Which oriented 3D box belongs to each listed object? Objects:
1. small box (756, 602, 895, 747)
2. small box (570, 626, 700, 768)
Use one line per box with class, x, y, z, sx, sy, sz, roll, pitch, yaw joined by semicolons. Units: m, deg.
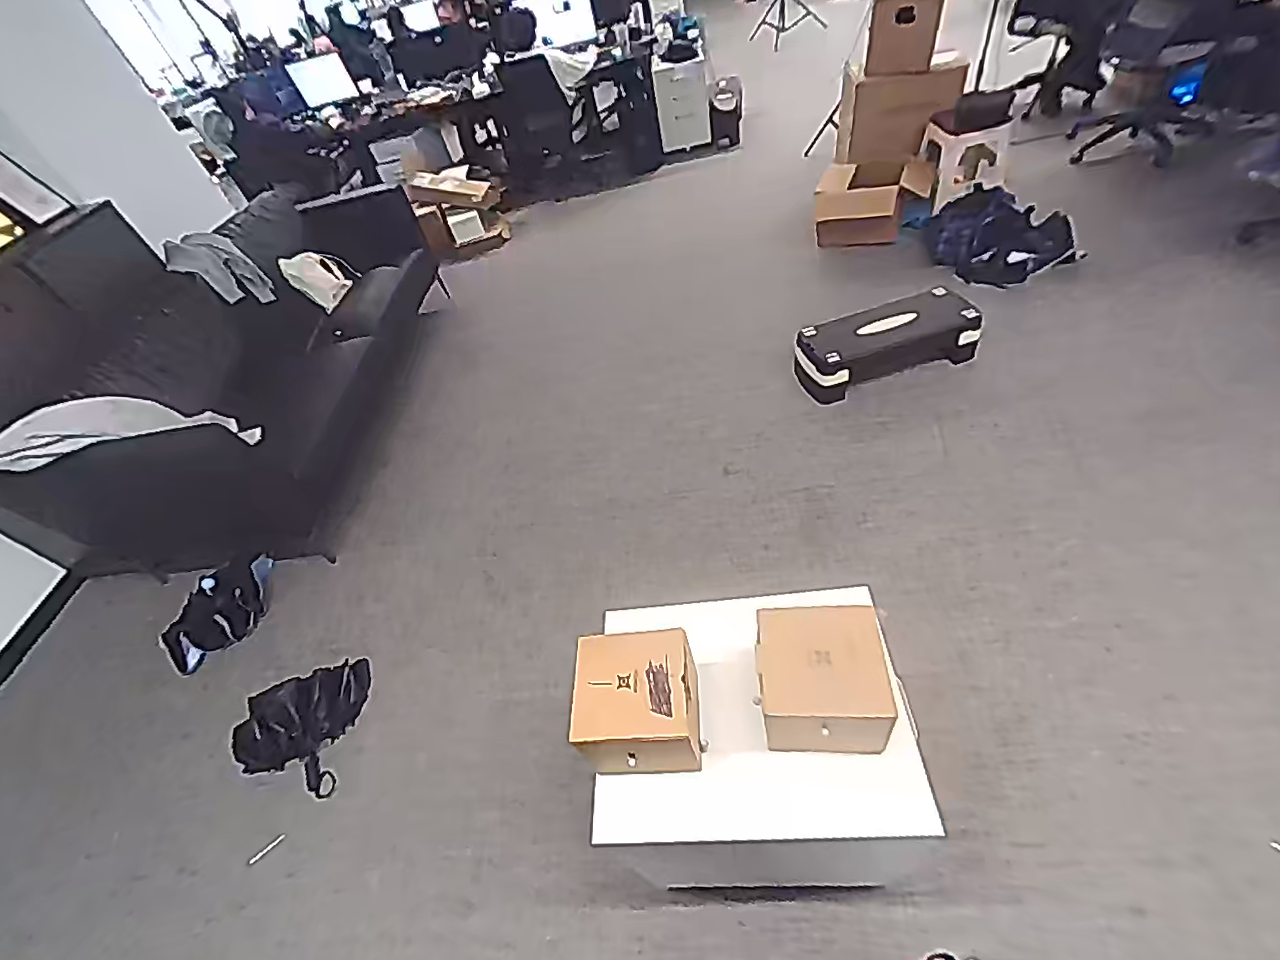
small box;0.278;0.305;0.841;0.179;0.176;0.168;-5;49;12
small box;0.002;0.354;0.873;0.179;0.176;0.168;-8;47;10
